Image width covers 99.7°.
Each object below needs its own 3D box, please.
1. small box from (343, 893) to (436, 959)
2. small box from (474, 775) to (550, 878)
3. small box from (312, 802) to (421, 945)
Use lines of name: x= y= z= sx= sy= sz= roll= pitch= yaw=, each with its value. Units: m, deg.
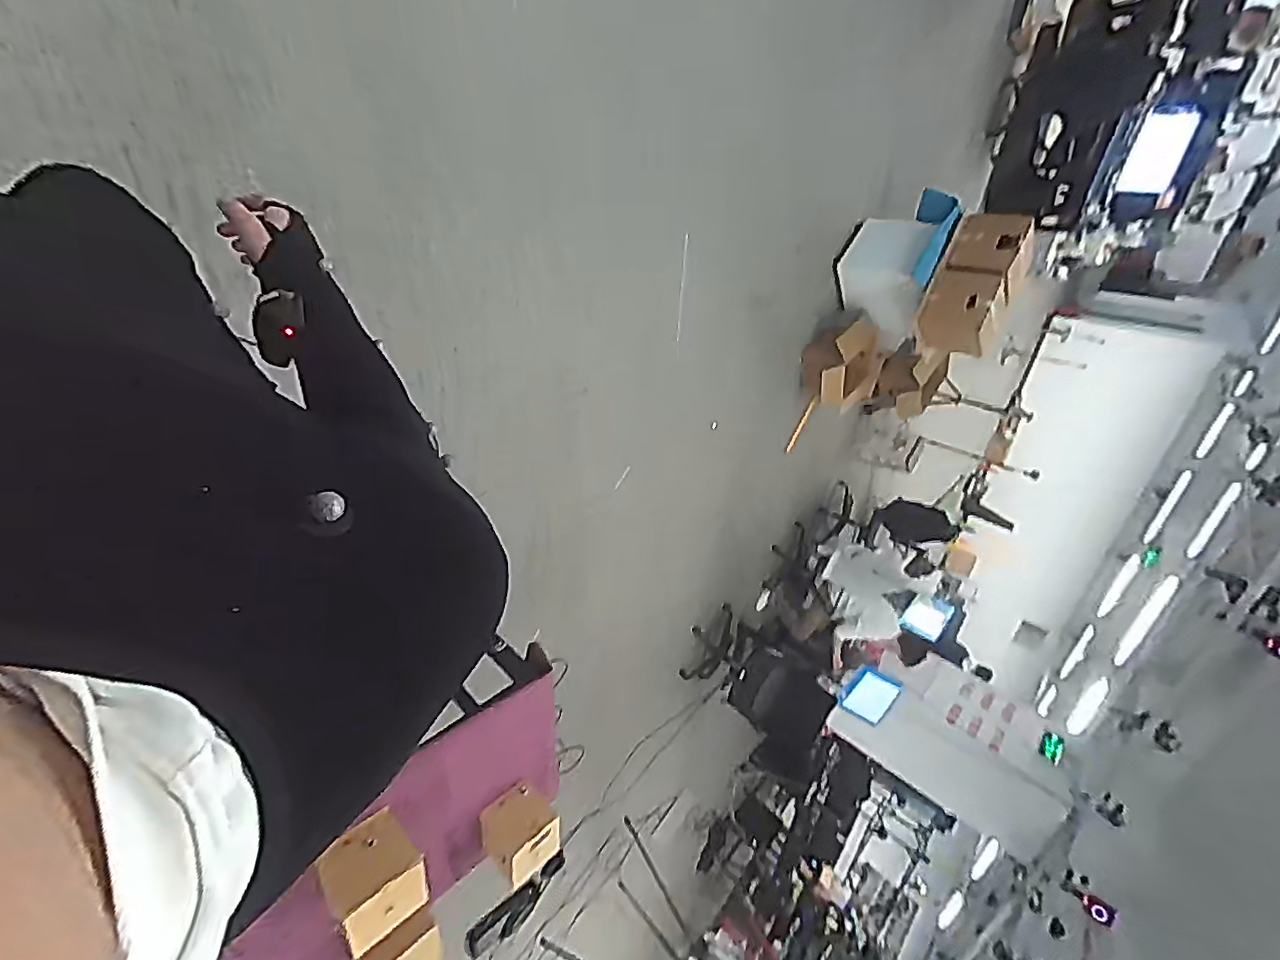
small box: x=-0.651 y=1.162 z=1.399 sx=0.168 sy=0.176 sz=0.179 roll=-22 pitch=128 yaw=-44
small box: x=-0.391 y=1.039 z=1.643 sx=0.168 sy=0.176 sz=0.179 roll=-23 pitch=129 yaw=-42
small box: x=-0.628 y=0.895 z=1.246 sx=0.168 sy=0.176 sz=0.179 roll=-23 pitch=130 yaw=-43
